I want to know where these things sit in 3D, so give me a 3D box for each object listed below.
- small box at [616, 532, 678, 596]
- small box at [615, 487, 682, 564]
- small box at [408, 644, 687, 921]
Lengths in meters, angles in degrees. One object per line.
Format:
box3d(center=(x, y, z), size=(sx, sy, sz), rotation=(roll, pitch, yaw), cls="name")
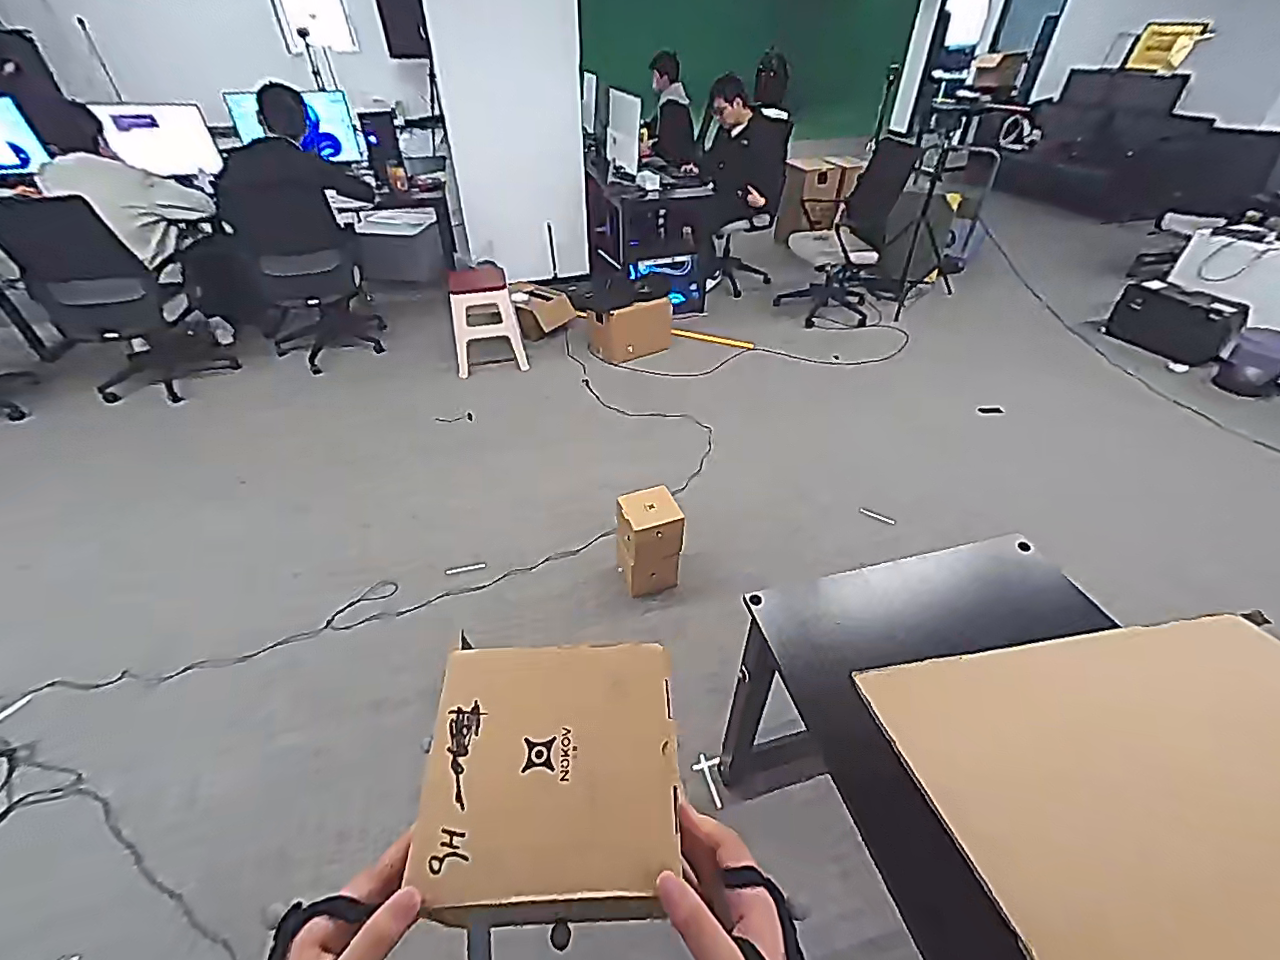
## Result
box3d(center=(0.020, 0.279, 1.902), size=(0.179, 0.176, 0.168), rotation=(-13, 42, -14), cls="small box")
box3d(center=(0.027, 0.154, 1.798), size=(0.179, 0.176, 0.168), rotation=(-14, 43, -17), cls="small box")
box3d(center=(-0.063, 0.251, 0.448), size=(0.179, 0.176, 0.168), rotation=(0, 46, -3), cls="small box")
